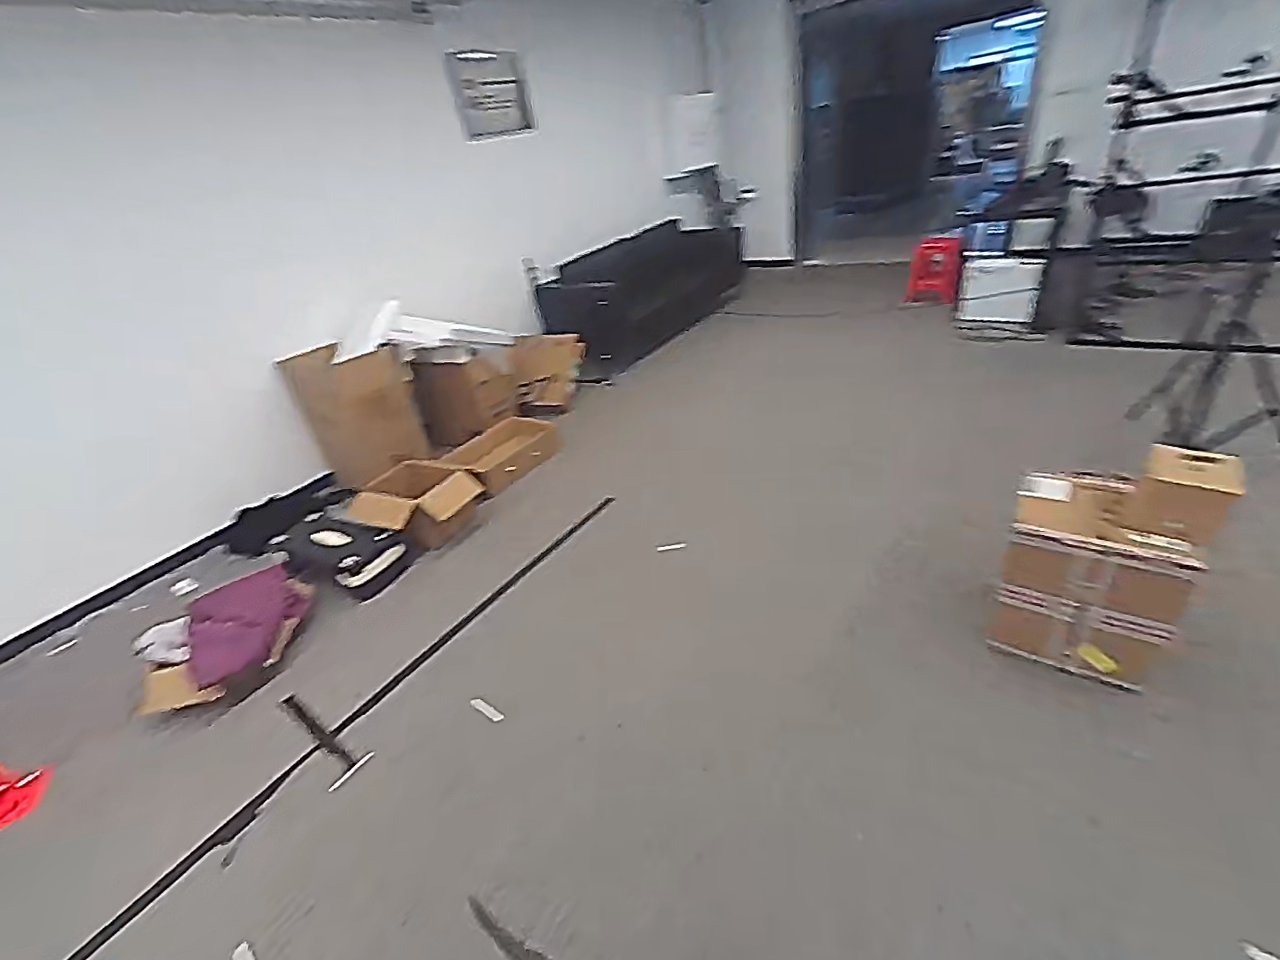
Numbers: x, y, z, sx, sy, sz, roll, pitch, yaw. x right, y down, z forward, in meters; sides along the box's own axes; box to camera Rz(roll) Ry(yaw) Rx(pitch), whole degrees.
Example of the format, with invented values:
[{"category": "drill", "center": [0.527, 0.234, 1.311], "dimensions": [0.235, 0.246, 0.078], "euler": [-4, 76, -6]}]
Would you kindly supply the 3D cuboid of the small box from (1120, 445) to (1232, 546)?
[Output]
[{"category": "small box", "center": [1.378, 0.038, 1.398], "dimensions": [0.168, 0.176, 0.179], "euler": [18, 44, 35]}]
